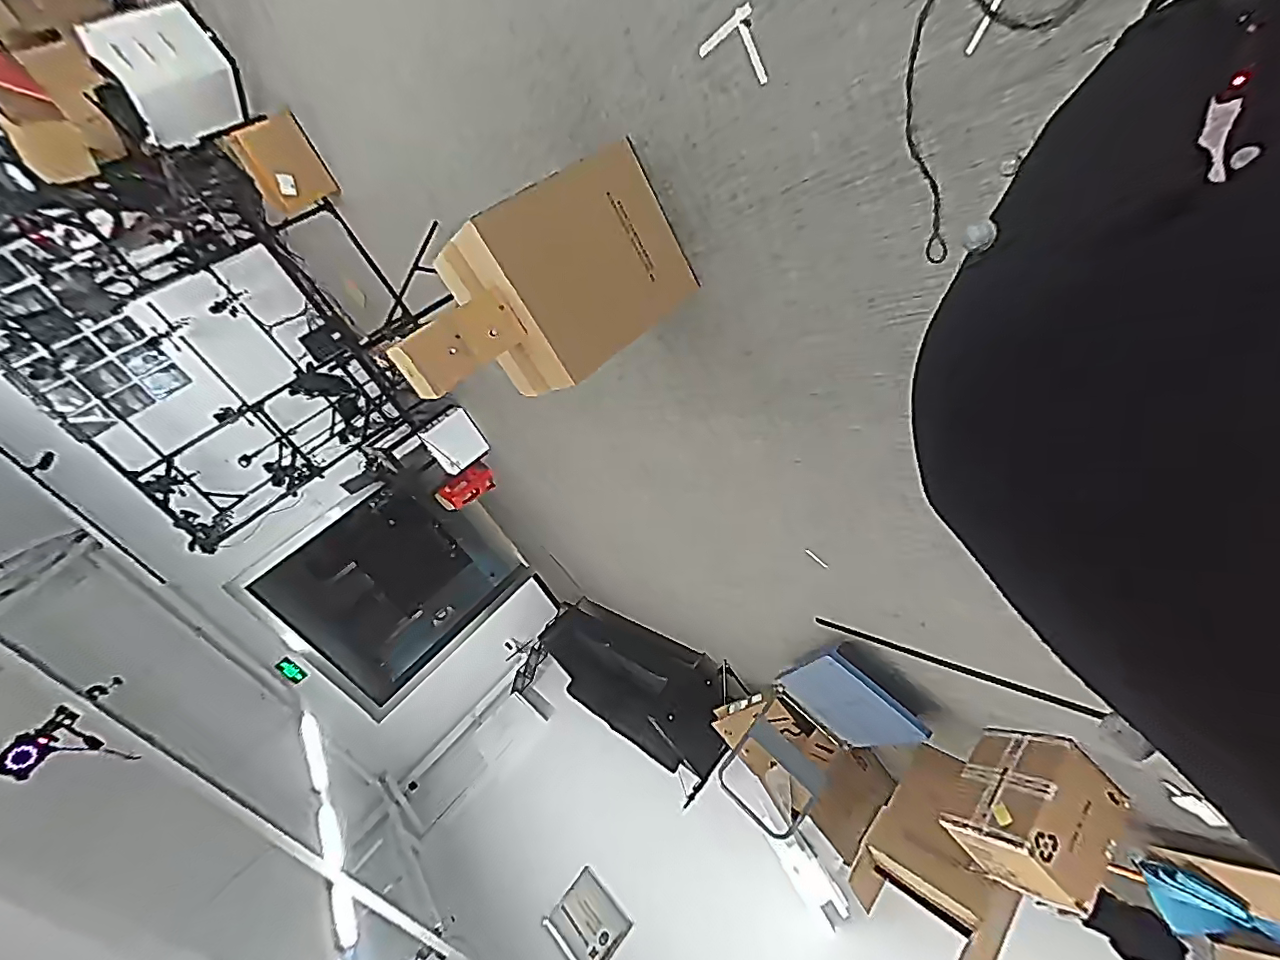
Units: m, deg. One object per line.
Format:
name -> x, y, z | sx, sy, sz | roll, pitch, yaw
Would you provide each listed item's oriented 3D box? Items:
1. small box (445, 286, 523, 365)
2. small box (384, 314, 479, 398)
small box -> -0.472, -0.451, 1.593 | 0.179, 0.176, 0.168 | 8, 136, 54
small box -> -0.586, -0.349, 1.530 | 0.179, 0.176, 0.168 | 11, 139, 52
